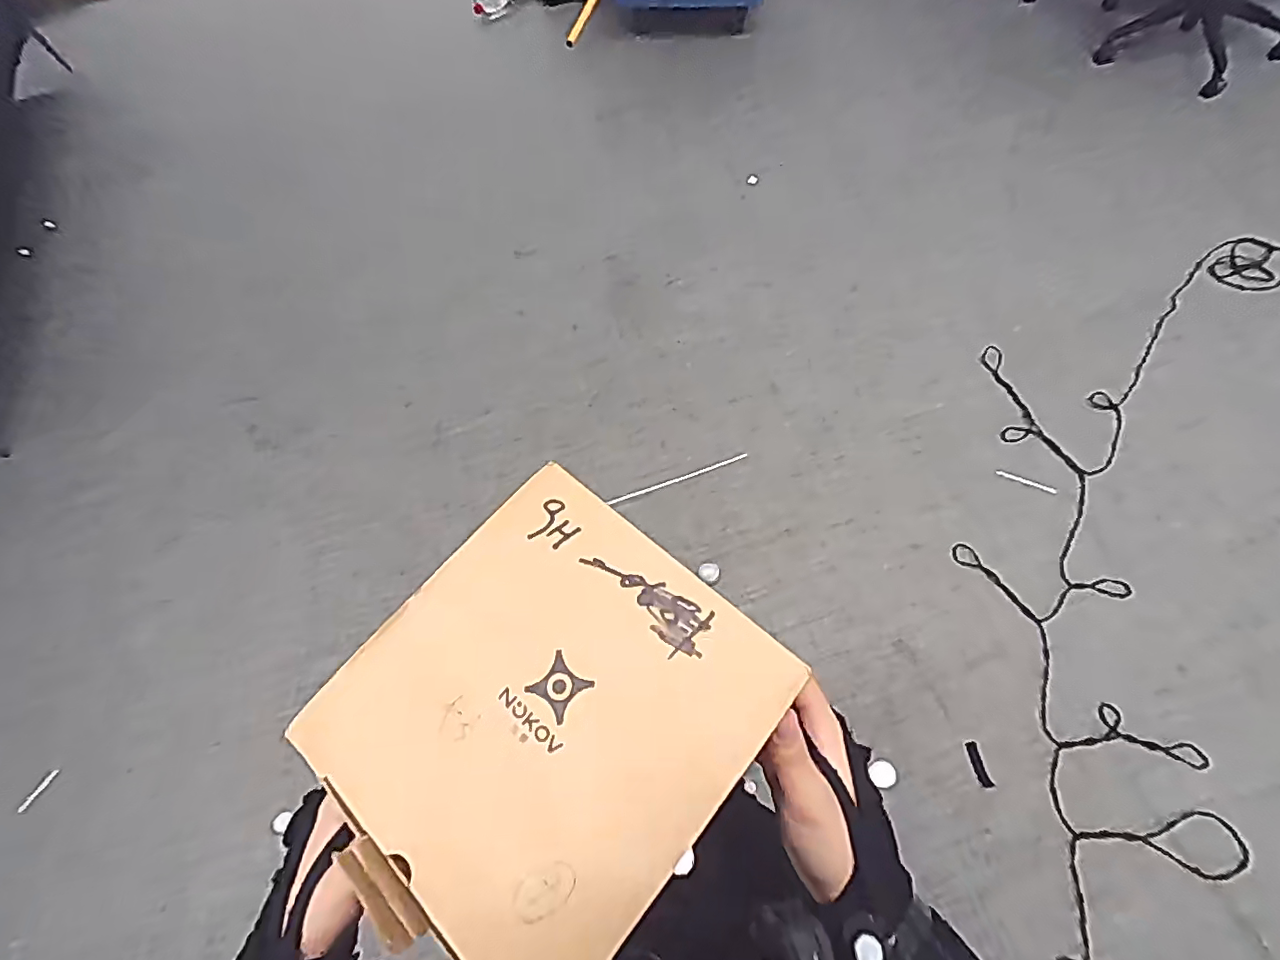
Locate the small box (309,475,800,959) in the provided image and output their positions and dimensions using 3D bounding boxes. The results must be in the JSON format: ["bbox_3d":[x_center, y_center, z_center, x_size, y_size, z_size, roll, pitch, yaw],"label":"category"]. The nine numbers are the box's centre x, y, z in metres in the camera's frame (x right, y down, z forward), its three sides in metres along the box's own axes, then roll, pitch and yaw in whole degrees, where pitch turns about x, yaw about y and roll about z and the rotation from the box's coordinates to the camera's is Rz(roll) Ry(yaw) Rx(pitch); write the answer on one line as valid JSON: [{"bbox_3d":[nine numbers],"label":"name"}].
[{"bbox_3d":[-0.034,0.135,0.321,0.168,0.176,0.179,38,75,18],"label":"small box"}]
